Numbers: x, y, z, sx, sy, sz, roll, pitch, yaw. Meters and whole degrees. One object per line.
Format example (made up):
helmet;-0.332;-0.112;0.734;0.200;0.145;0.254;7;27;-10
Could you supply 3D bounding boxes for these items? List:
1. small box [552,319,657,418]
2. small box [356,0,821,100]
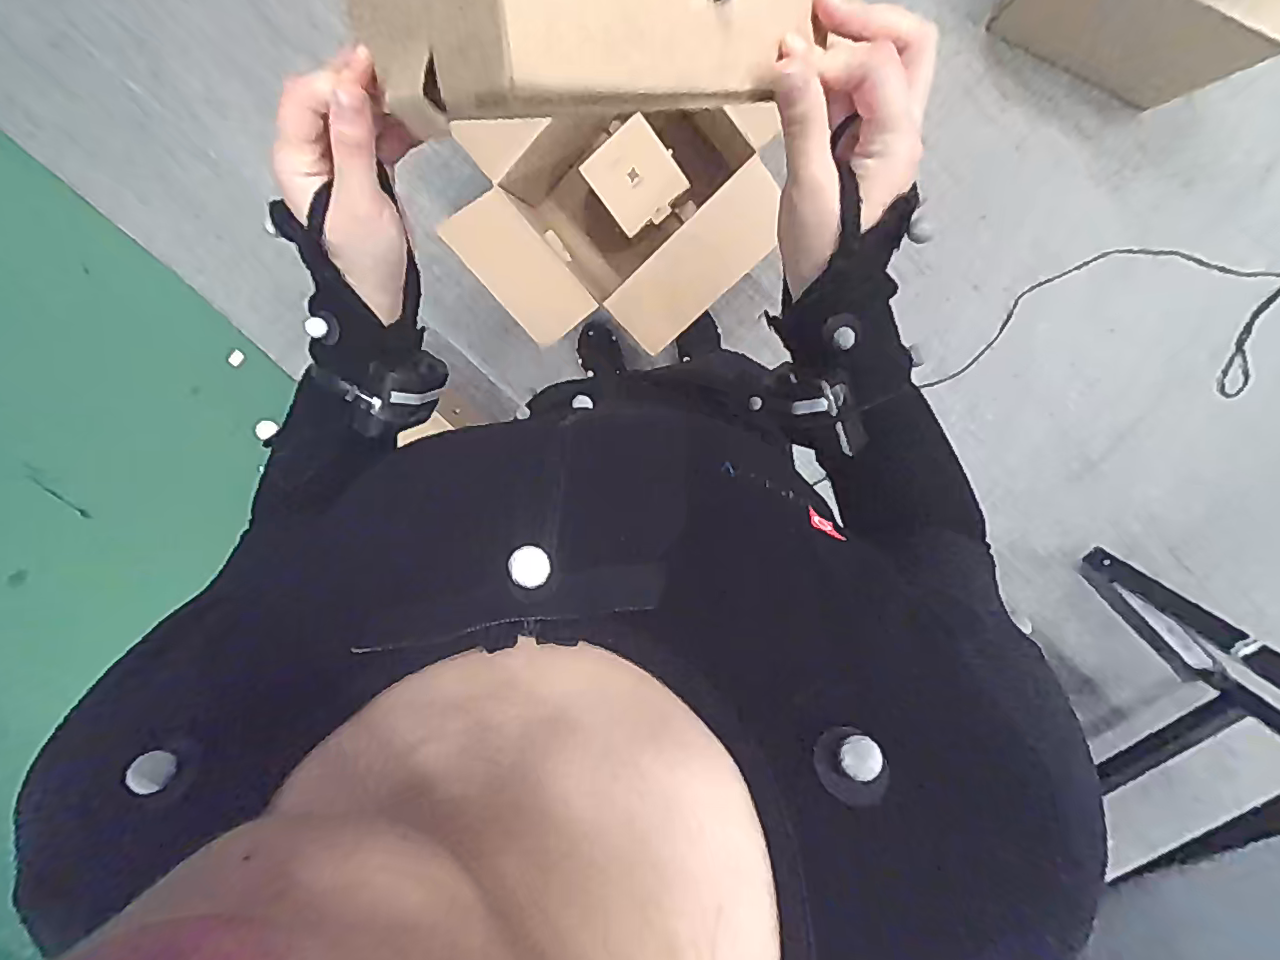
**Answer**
small box;-0.083;-0.273;1.337;0.176;0.168;0.179;28;84;-33
small box;-0.027;-0.273;0.234;0.179;0.168;0.176;-27;132;-29
